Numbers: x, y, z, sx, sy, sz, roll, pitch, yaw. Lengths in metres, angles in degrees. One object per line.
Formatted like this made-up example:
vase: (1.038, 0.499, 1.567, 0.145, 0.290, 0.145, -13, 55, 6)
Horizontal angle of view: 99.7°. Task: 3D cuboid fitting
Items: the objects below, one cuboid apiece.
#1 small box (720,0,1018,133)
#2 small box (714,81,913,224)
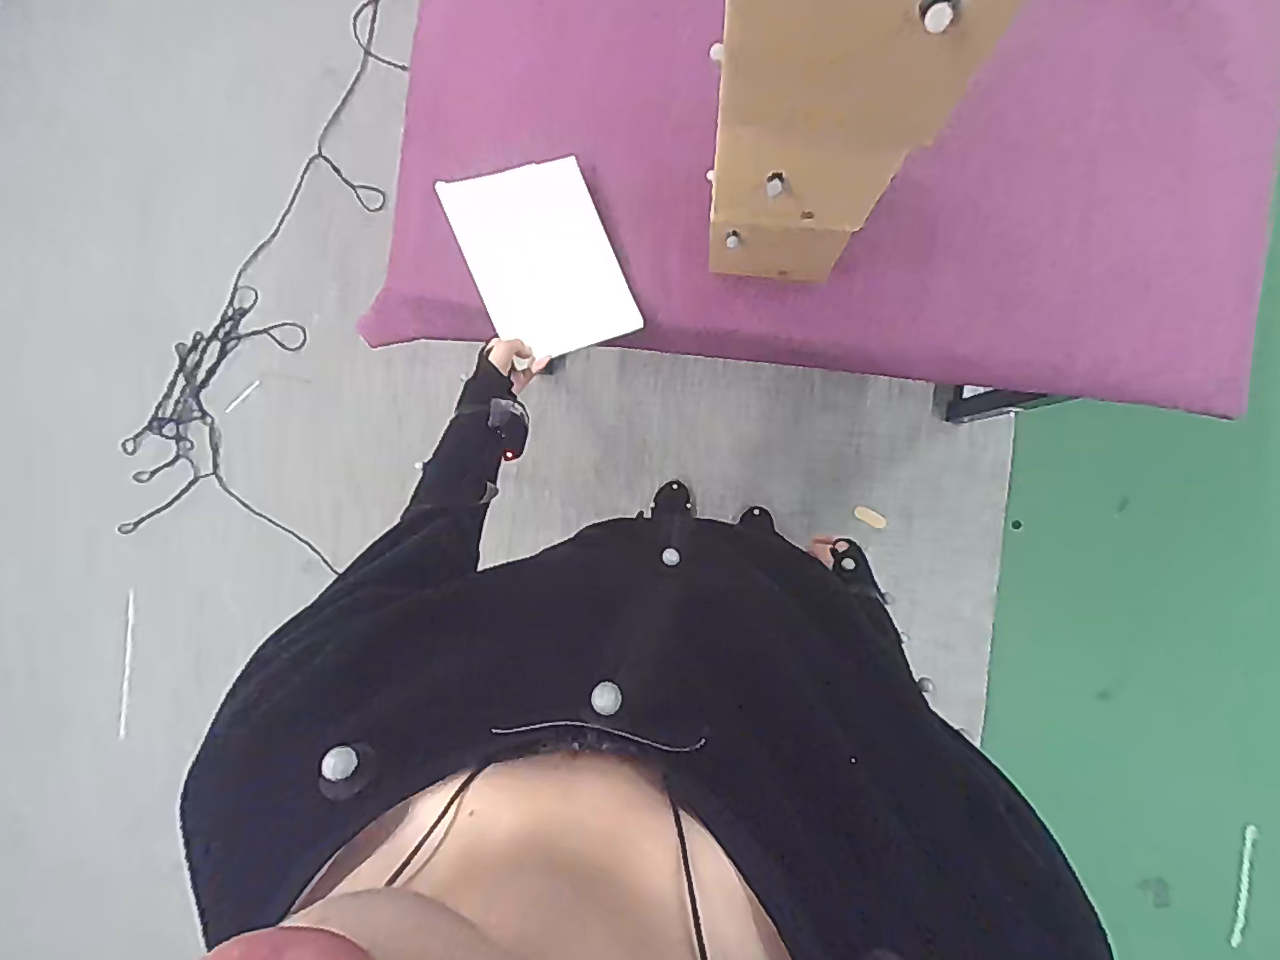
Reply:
small box: (0.157, -0.373, 0.368, 0.179, 0.176, 0.168, 10, 89, 6)
small box: (0.165, -0.378, 0.533, 0.168, 0.176, 0.179, 8, 89, 6)
